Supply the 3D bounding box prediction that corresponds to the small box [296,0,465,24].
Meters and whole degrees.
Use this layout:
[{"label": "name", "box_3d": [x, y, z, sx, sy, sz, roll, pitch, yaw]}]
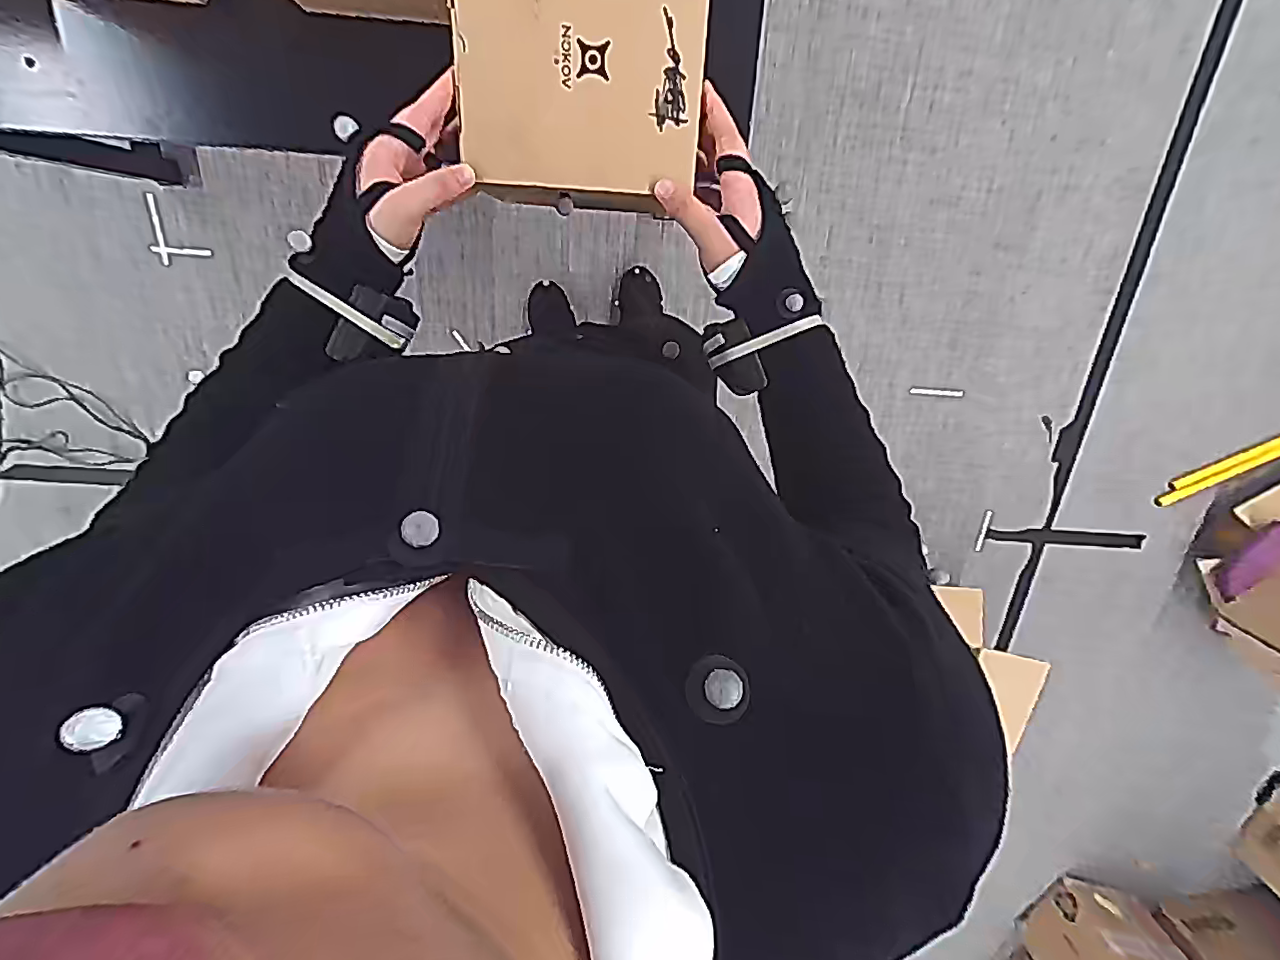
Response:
[{"label": "small box", "box_3d": [-0.254, -0.533, 0.468, 0.179, 0.176, 0.168, 1, 110, -4]}]
